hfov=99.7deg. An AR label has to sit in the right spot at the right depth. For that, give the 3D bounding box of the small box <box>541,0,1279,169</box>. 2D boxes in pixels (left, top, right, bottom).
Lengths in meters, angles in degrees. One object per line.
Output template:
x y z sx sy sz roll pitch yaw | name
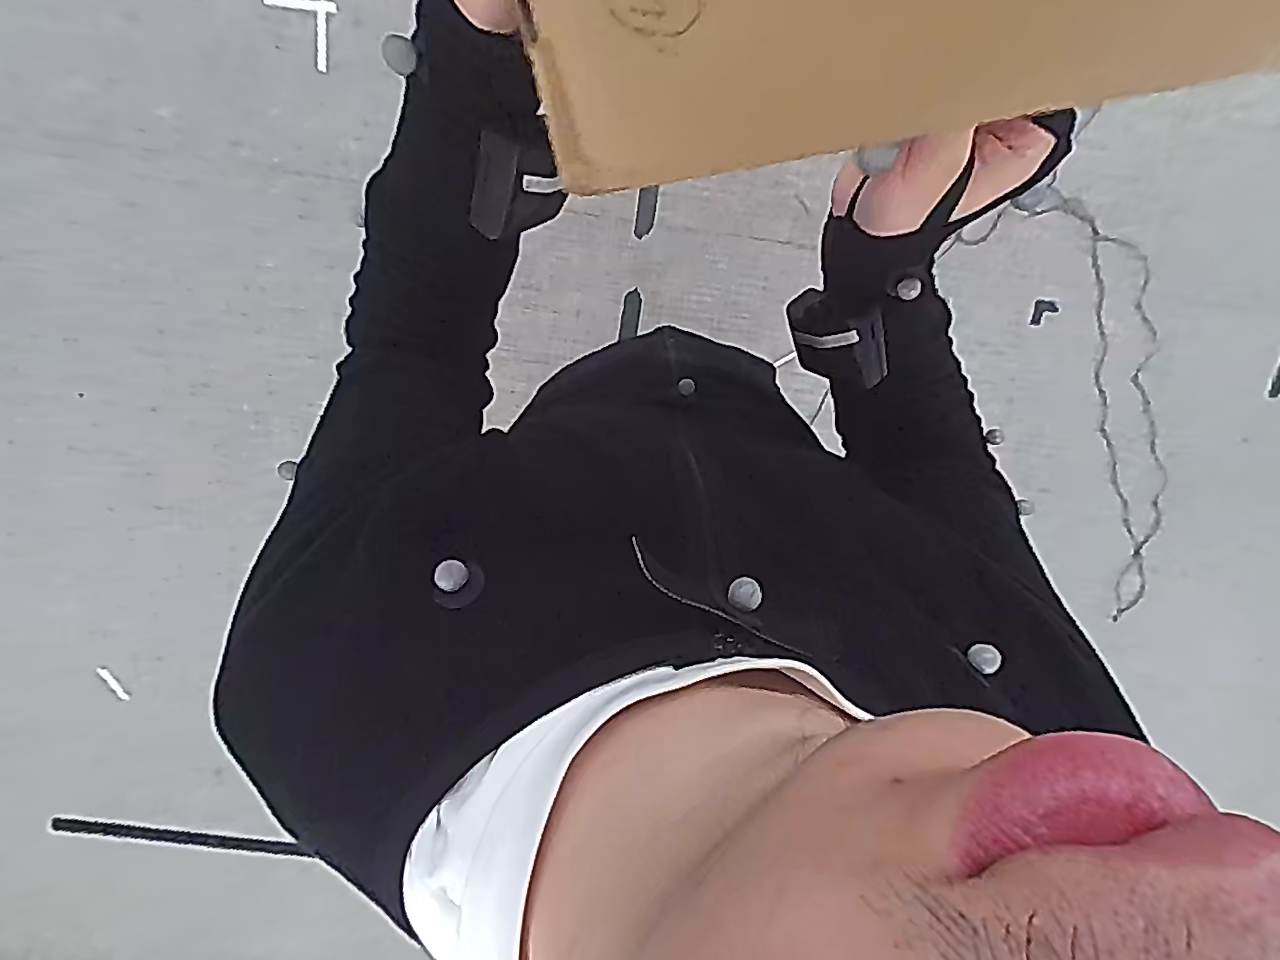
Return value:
0.061 -0.200 0.140 0.179 0.176 0.168 -6 128 11 | small box
